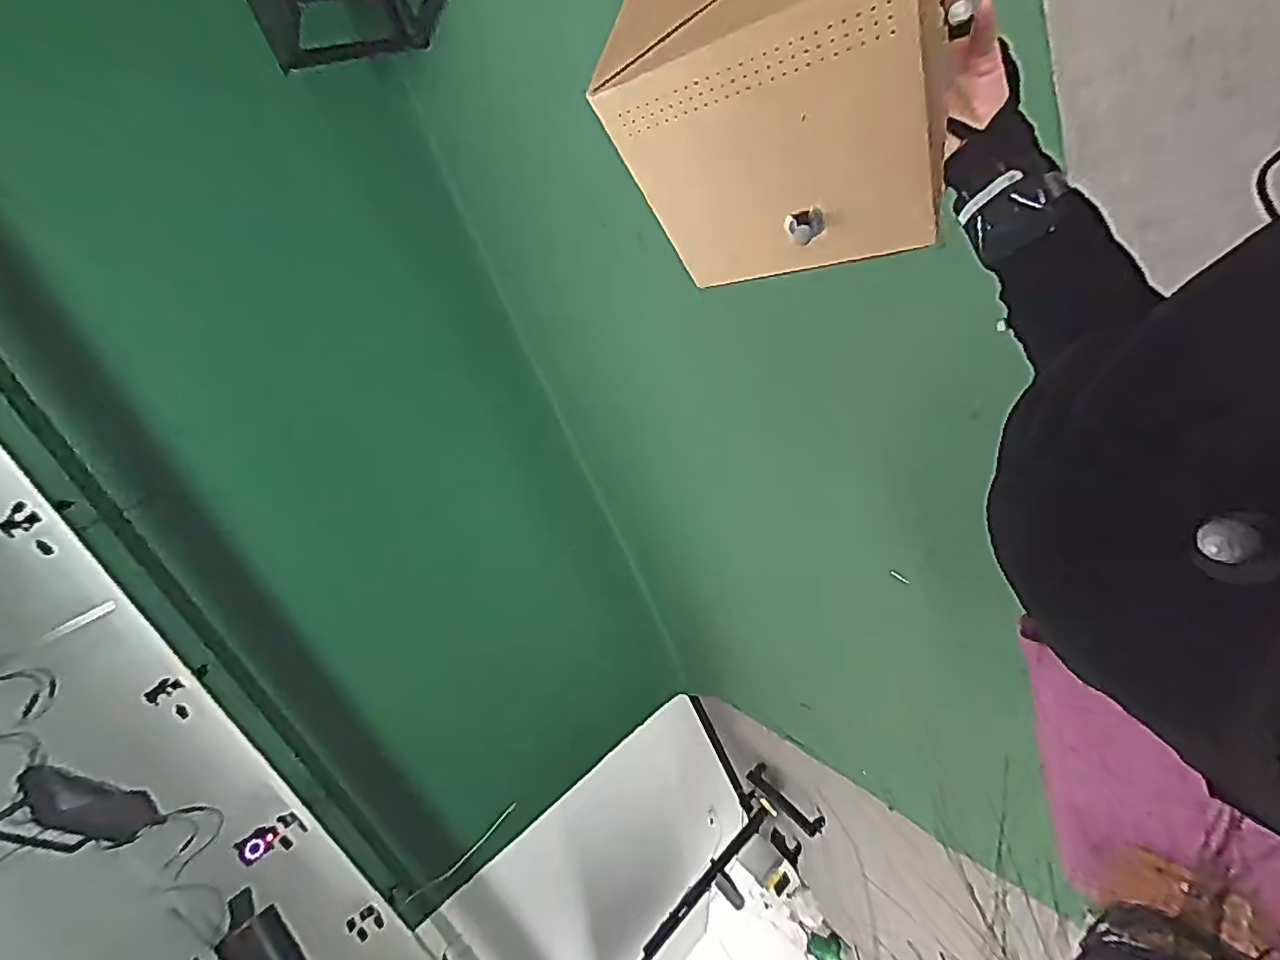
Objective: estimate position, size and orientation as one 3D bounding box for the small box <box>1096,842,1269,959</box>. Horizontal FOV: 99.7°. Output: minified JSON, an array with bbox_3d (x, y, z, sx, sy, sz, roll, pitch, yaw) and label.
[{"bbox_3d":[0.910,0.771,0.906,0.168,0.176,0.179,-1,117,58],"label":"small box"}]

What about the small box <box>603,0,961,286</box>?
[{"bbox_3d":[0.104,-0.262,0.354,0.179,0.168,0.176,0,156,32],"label":"small box"}]
